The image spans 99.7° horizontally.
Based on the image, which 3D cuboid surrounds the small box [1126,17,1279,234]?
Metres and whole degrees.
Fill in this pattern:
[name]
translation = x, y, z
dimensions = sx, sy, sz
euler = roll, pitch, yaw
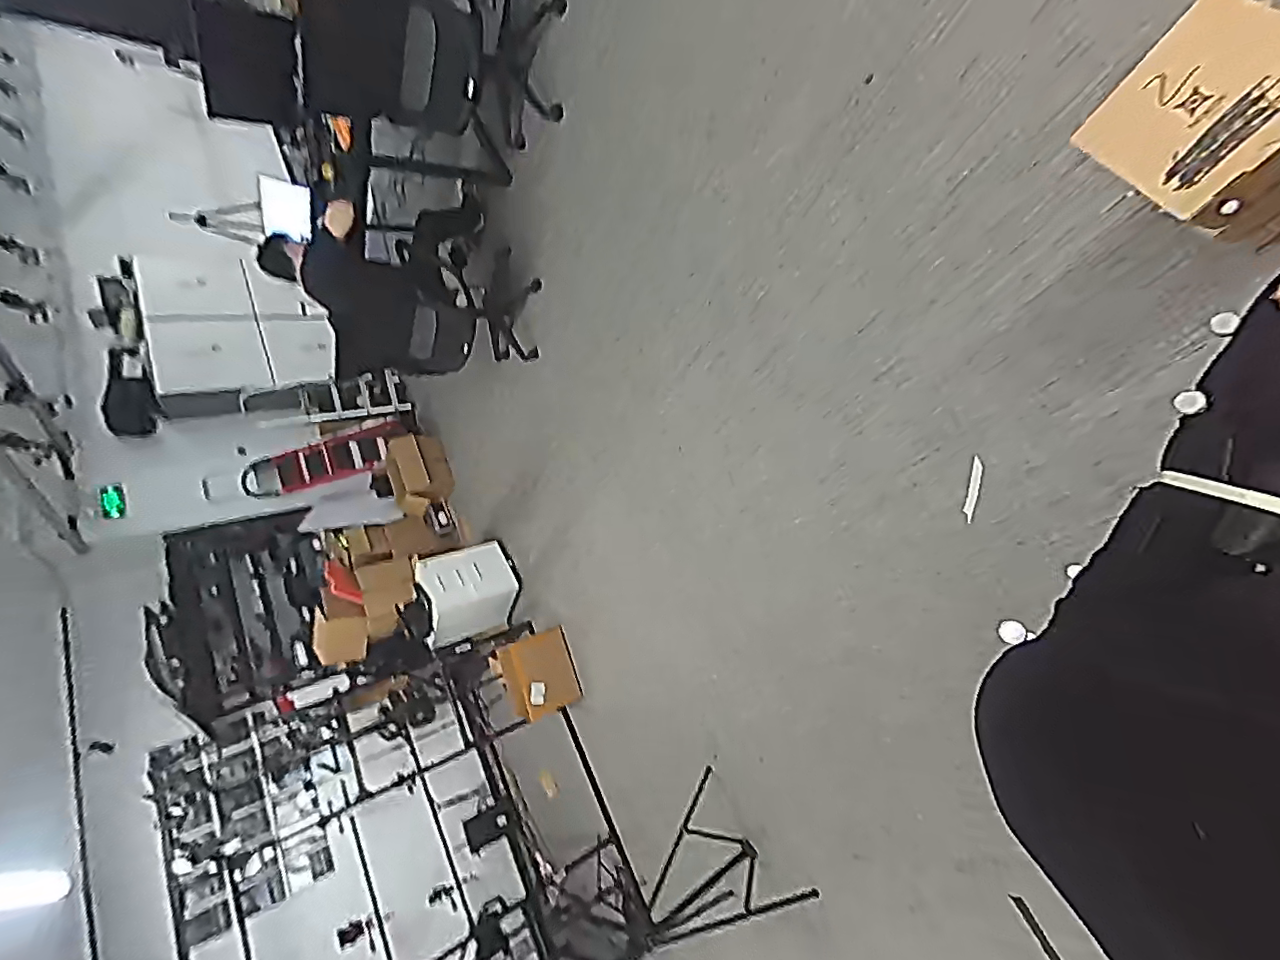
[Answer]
[small box]
translation = 0.819, -0.455, 0.719
dimensions = 0.168, 0.176, 0.179
euler = 60, 143, 22
